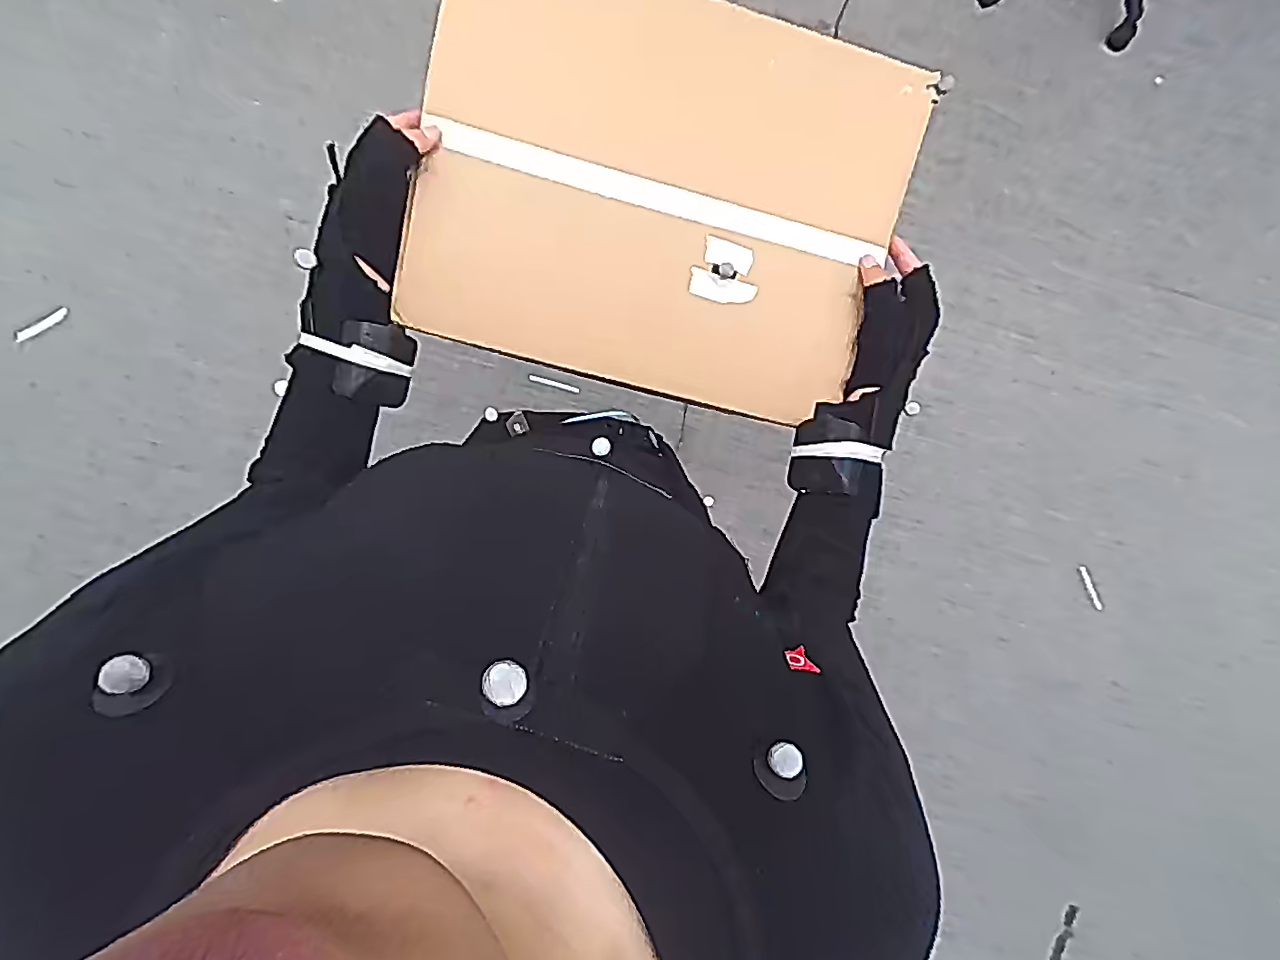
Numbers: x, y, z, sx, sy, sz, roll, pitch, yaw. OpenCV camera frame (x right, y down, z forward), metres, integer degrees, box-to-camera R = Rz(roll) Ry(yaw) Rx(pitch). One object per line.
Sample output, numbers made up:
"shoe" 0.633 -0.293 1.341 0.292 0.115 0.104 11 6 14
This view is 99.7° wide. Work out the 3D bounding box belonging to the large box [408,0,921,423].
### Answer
"large box" 0.008 -0.267 0.617 0.408 0.320 0.320 13 100 -8
